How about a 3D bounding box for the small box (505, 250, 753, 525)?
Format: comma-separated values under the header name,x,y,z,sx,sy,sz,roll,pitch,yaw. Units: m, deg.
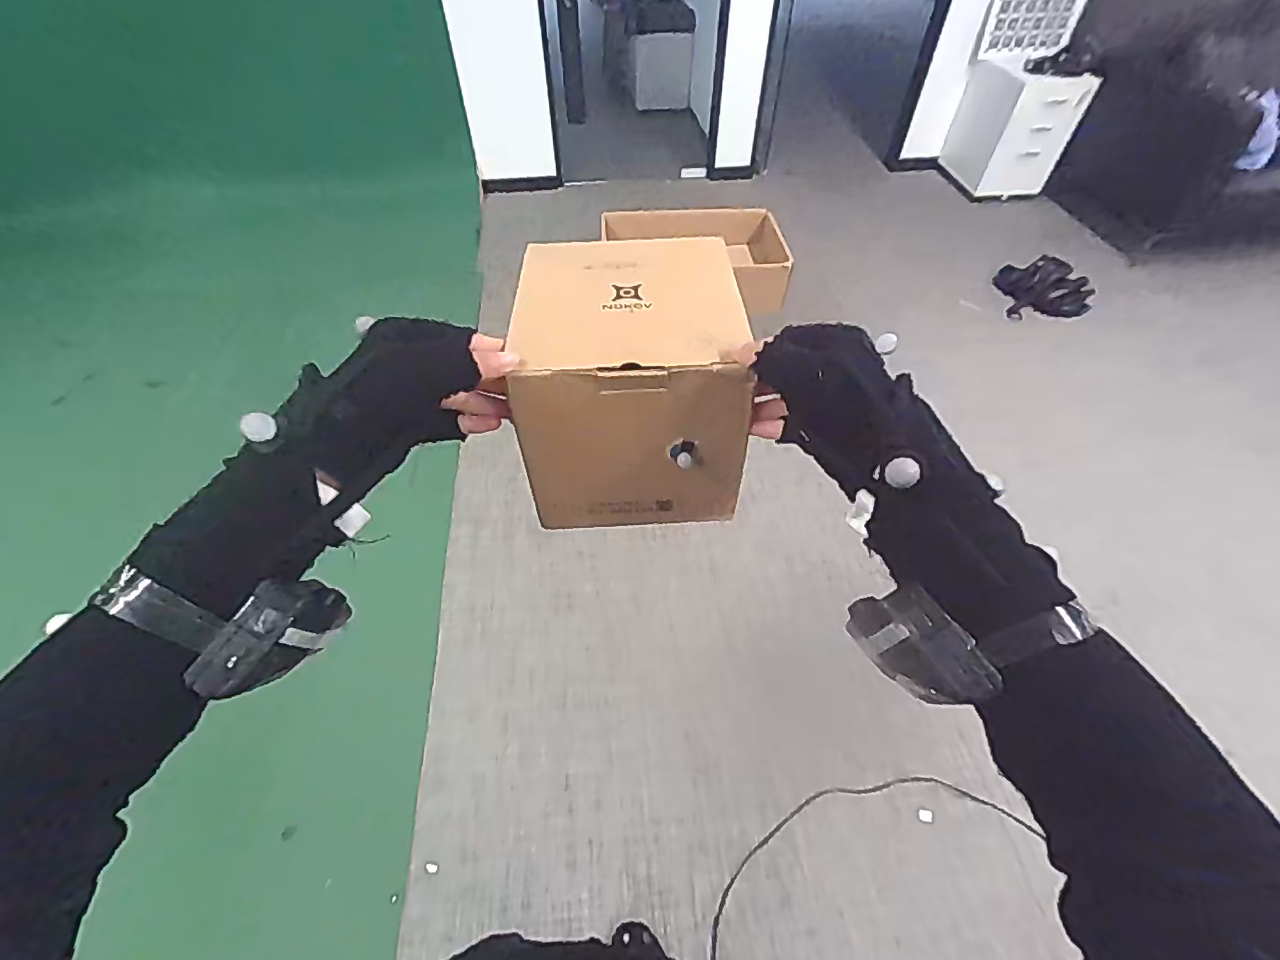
name,x,y,z,sx,sy,sz,roll,pitch,yaw
small box,-0.007,-0.073,0.461,0.168,0.176,0.179,-3,47,-1
